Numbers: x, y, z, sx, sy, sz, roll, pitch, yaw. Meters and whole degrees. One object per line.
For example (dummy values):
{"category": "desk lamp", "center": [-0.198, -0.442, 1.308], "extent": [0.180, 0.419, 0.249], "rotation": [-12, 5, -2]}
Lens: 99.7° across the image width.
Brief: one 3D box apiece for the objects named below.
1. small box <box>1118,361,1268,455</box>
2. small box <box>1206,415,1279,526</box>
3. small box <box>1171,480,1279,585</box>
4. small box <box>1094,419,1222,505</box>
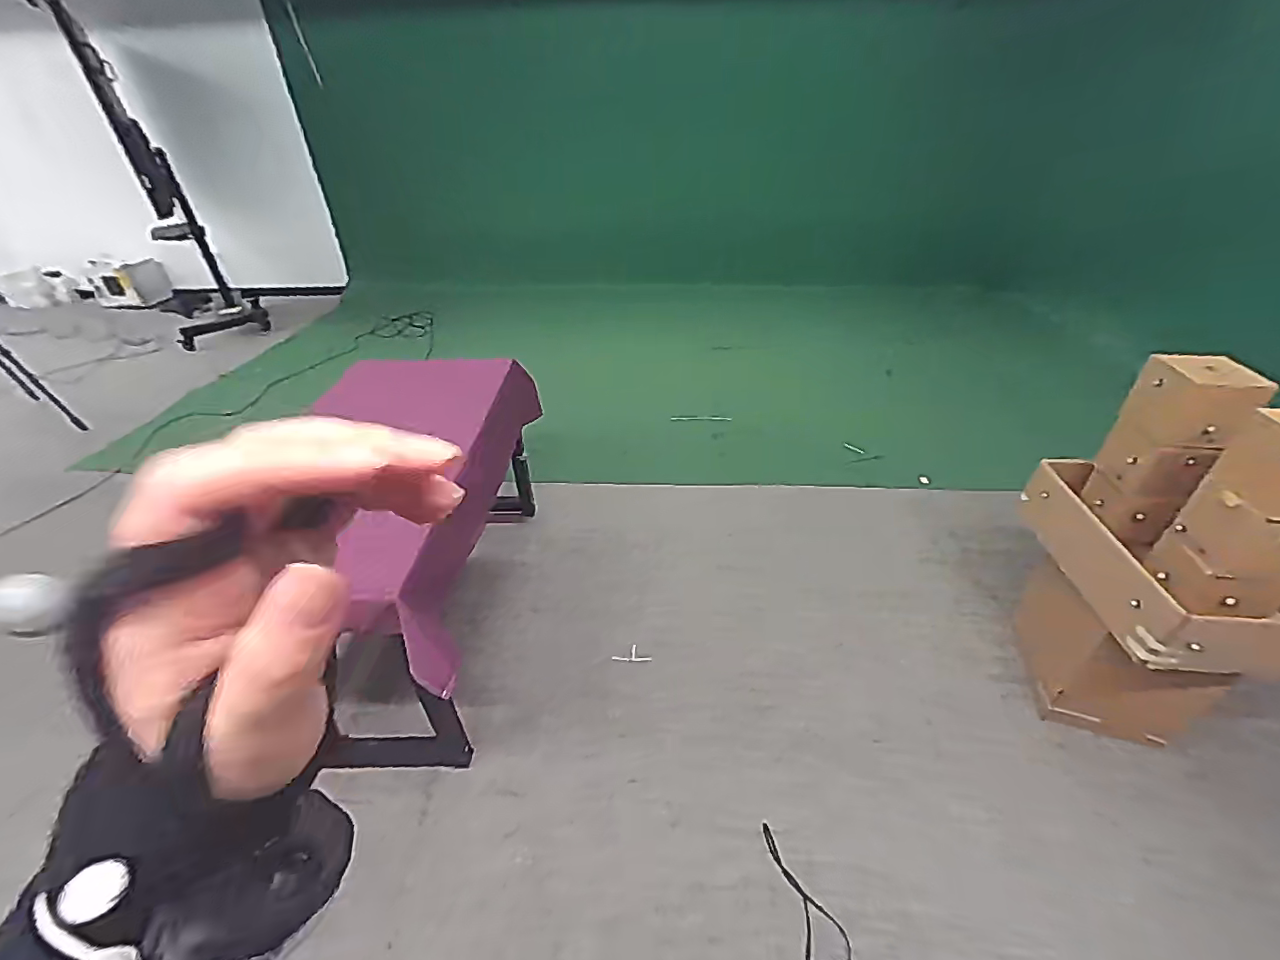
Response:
{"category": "small box", "center": [1.359, -0.183, 1.348], "extent": [0.168, 0.176, 0.179], "rotation": [3, 37, 8]}
{"category": "small box", "center": [1.357, -0.017, 1.119], "extent": [0.168, 0.176, 0.179], "rotation": [3, 36, 6]}
{"category": "small box", "center": [1.357, 0.118, 1.209], "extent": [0.179, 0.176, 0.168], "rotation": [4, 36, 6]}
{"category": "small box", "center": [1.369, -0.048, 1.443], "extent": [0.179, 0.176, 0.168], "rotation": [3, 36, 5]}
